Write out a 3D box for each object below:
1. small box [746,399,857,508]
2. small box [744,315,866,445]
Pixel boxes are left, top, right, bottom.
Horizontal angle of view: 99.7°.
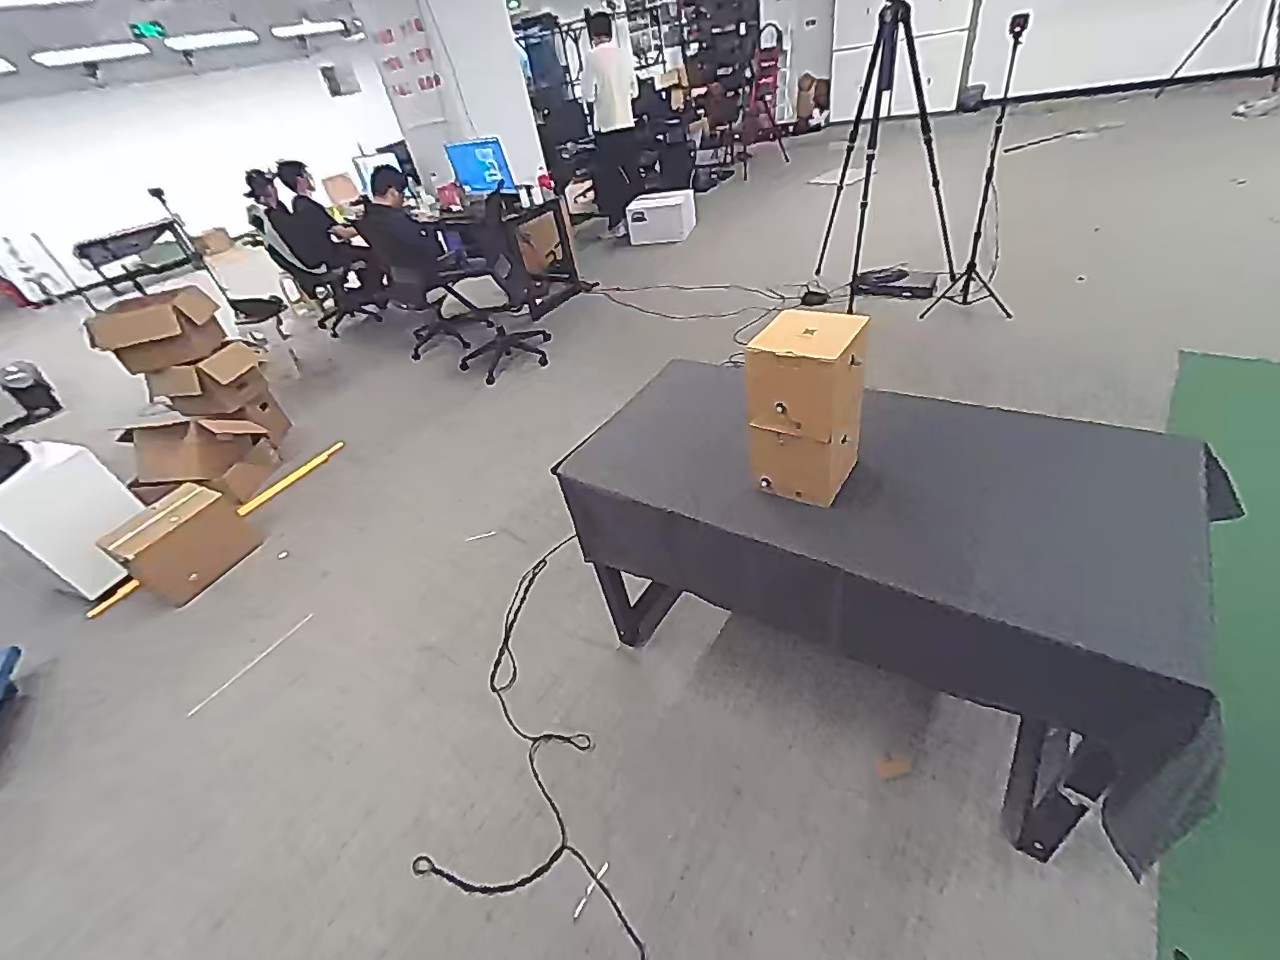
[{"bbox_3d":[0.338,-0.068,1.124,0.168,0.176,0.179,16,45,33],"label":"small box"},{"bbox_3d":[0.310,-0.193,1.024,0.168,0.176,0.179,17,47,33],"label":"small box"}]
